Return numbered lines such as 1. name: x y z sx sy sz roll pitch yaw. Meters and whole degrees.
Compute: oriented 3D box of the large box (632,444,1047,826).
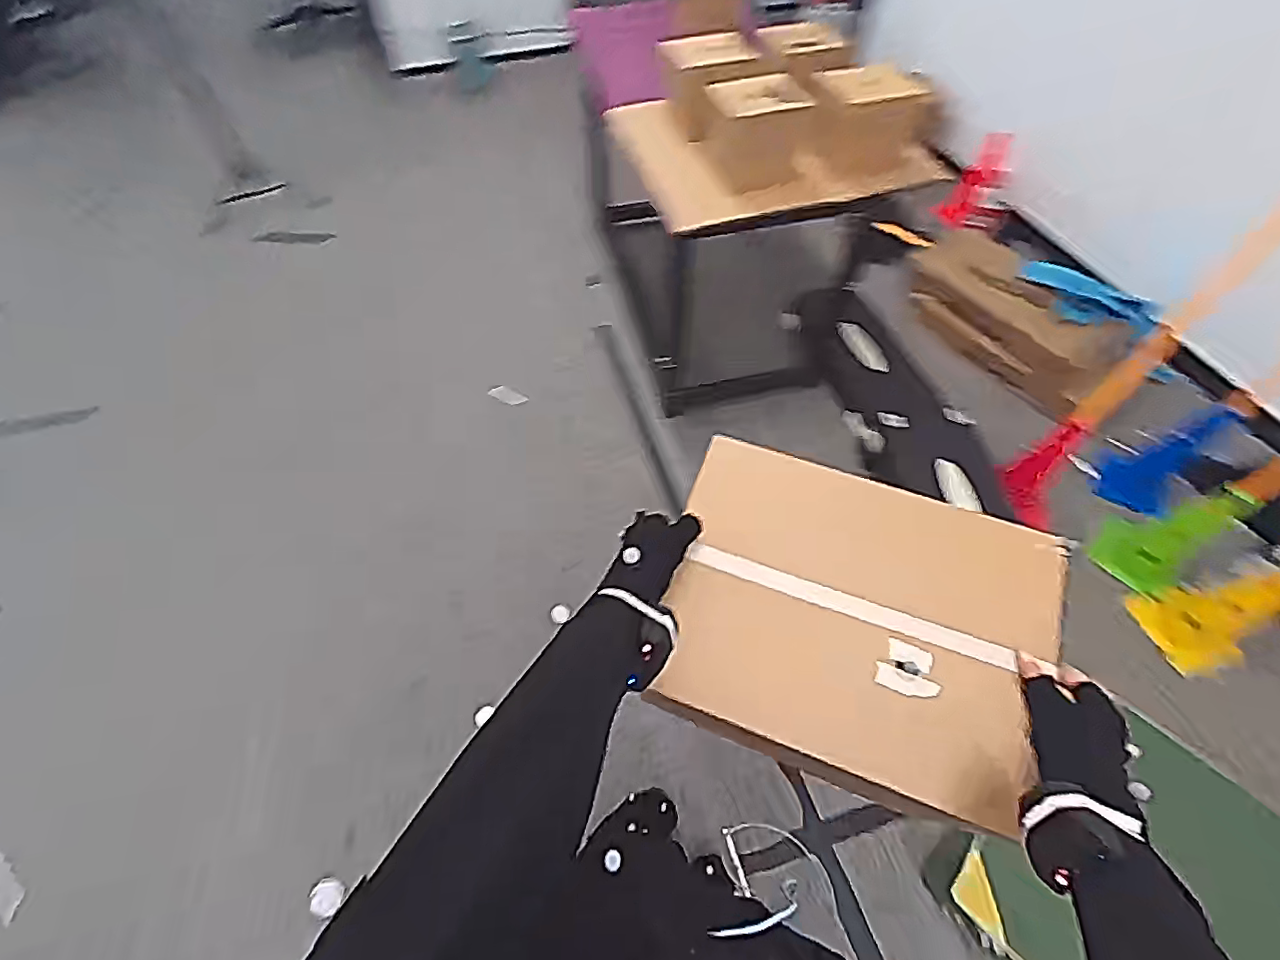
1. large box: 0.233 0.200 0.727 0.408 0.320 0.320 17 68 12
